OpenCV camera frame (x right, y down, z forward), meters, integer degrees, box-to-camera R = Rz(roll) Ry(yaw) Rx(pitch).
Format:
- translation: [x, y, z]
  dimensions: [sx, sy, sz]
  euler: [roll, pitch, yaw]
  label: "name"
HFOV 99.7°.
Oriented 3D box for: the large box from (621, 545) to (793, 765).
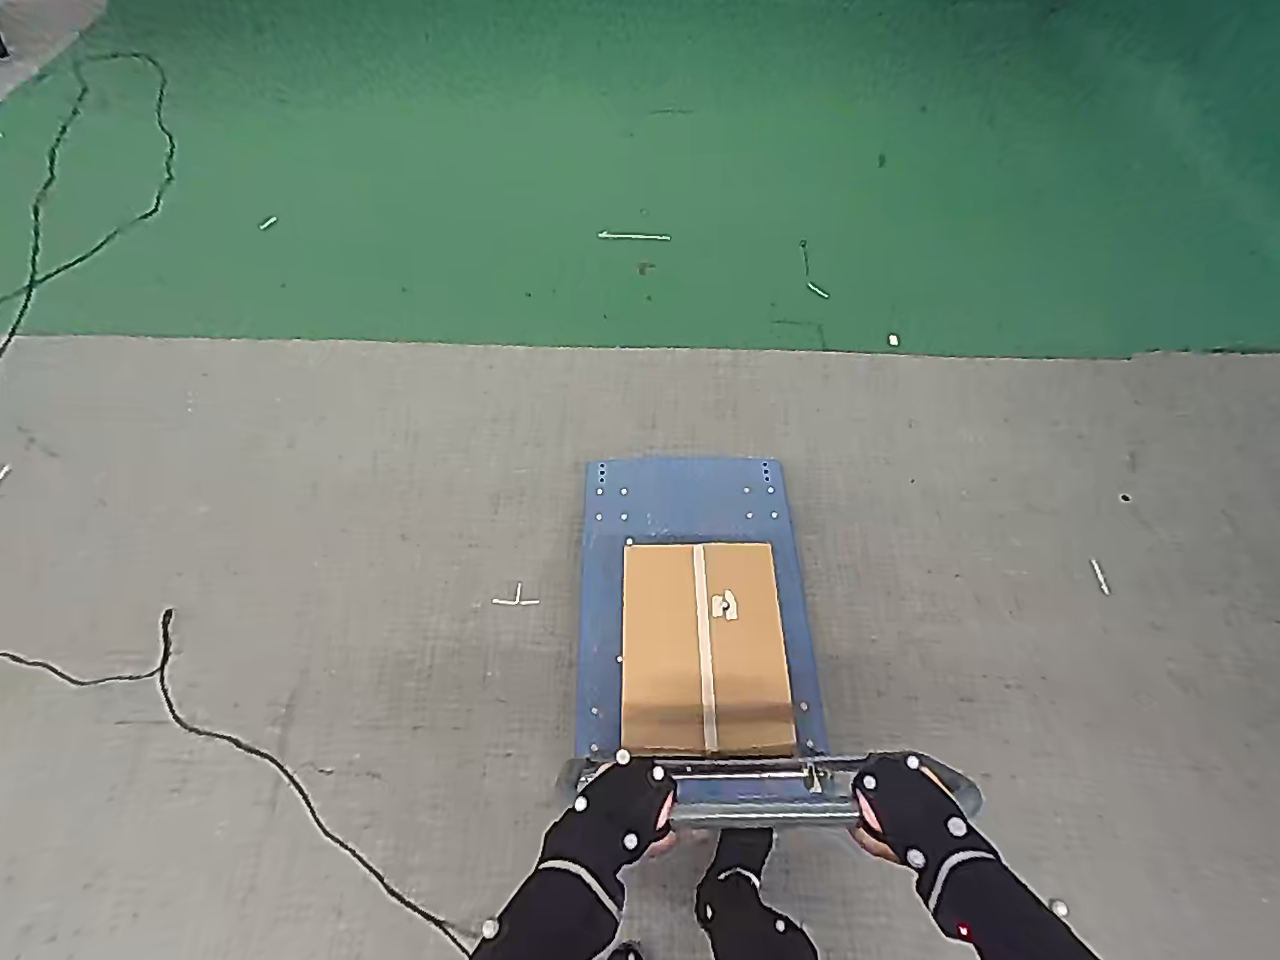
- translation: [0.122, 0.392, 1.195]
  dimensions: [0.320, 0.320, 0.408]
  euler: [-1, 59, 0]
  label: "large box"
